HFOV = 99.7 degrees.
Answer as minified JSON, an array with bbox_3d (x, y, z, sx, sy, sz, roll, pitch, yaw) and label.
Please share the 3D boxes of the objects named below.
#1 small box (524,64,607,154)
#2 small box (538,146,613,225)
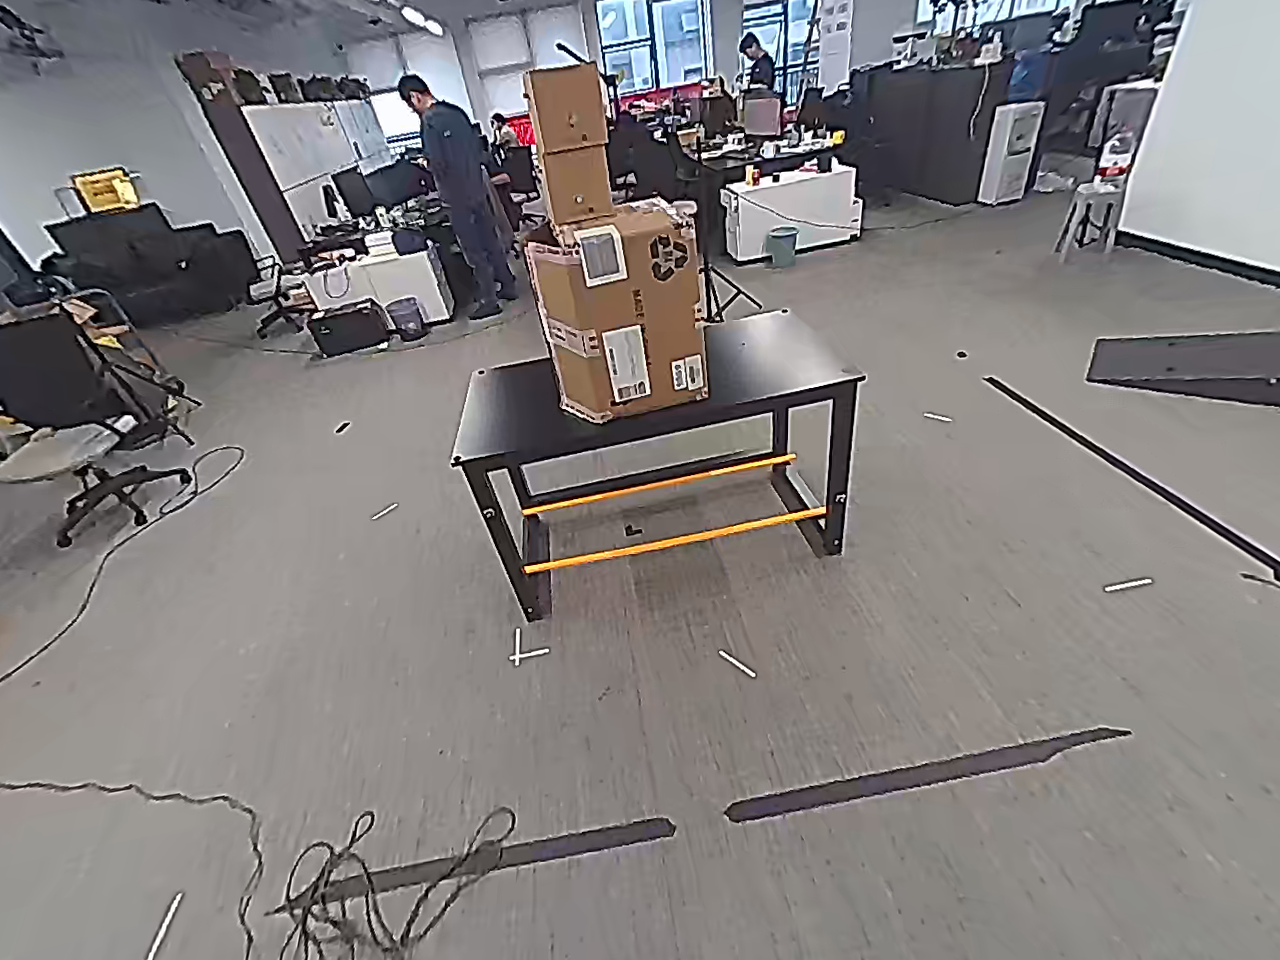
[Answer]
[{"bbox_3d":[-0.190,-0.940,1.381,0.168,0.176,0.179,-15,35,-8],"label":"small box"},{"bbox_3d":[-0.177,-0.809,1.480,0.168,0.176,0.179,-14,35,-7],"label":"small box"}]
